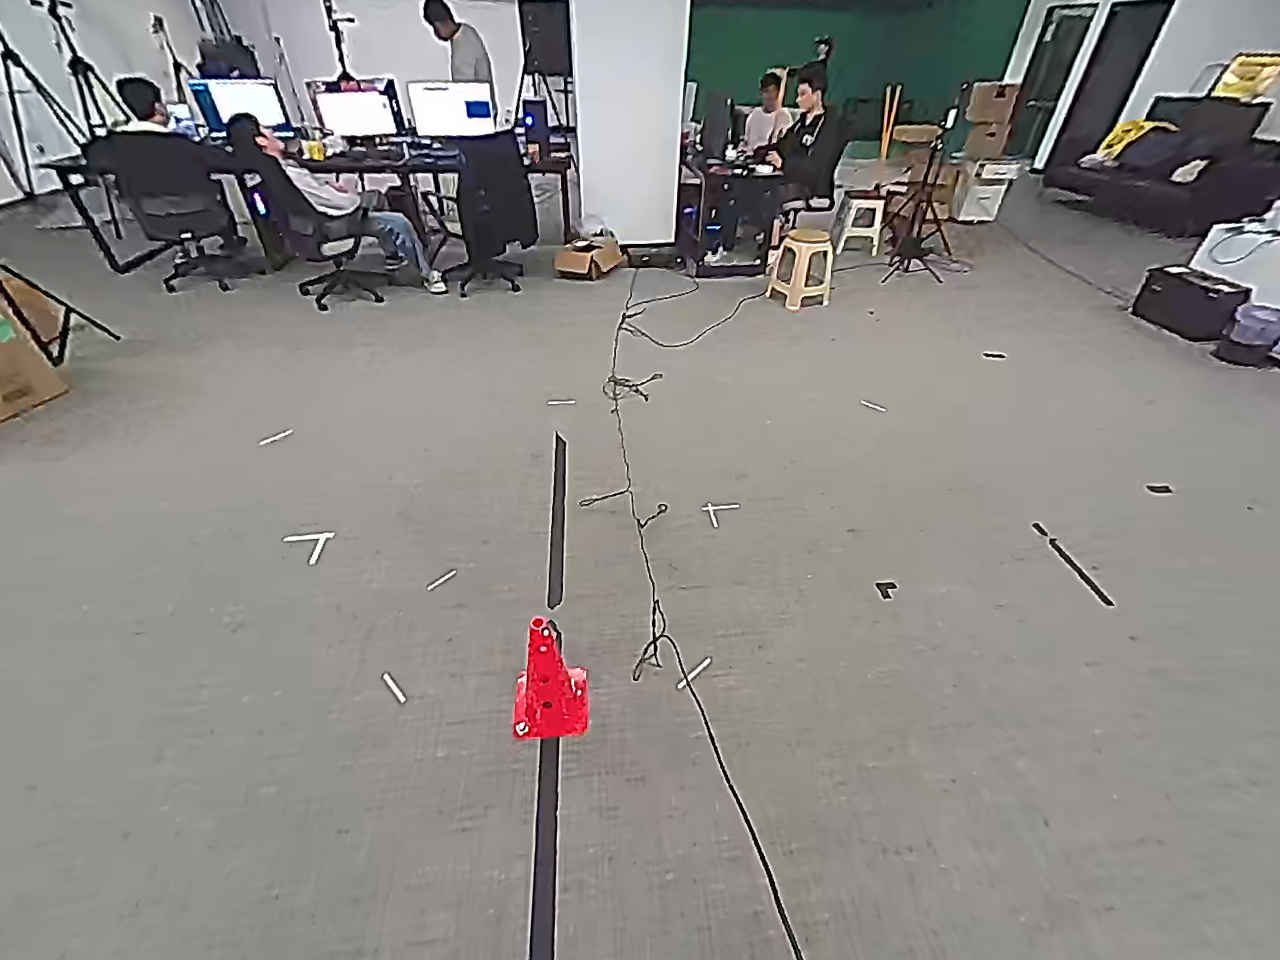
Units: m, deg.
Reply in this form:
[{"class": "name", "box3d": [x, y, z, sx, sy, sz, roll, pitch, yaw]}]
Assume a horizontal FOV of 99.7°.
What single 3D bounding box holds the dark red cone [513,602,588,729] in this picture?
[{"class": "dark red cone", "box3d": [-0.239, 0.457, 1.385, 0.201, 0.394, 0.202, -2, 38, -6]}]
